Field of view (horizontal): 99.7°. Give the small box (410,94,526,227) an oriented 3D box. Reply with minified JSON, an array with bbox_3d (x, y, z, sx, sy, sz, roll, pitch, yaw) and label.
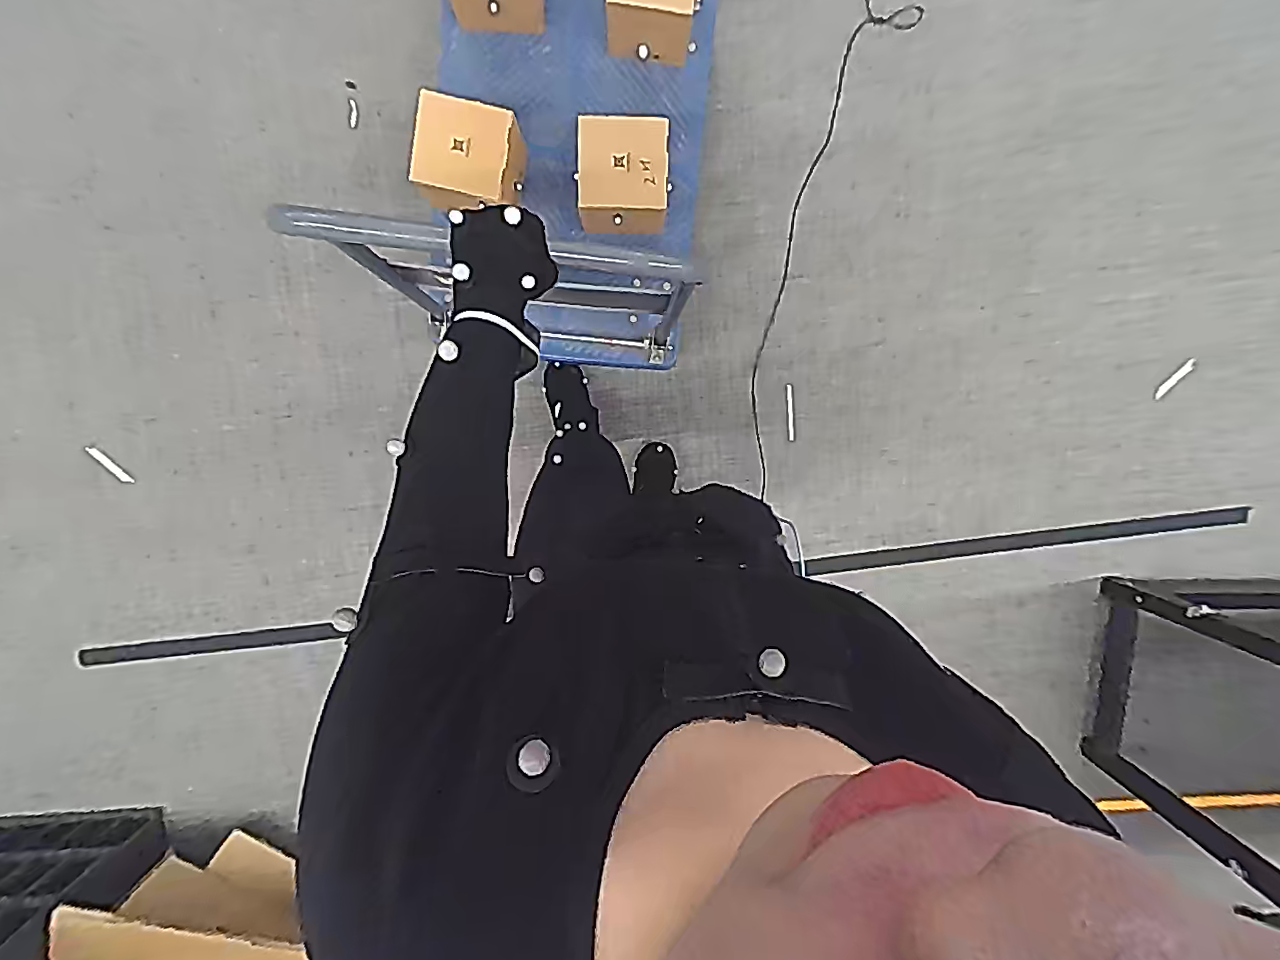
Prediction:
[{"bbox_3d":[-0.342,-0.638,1.102,0.179,0.176,0.168,10,98,-5],"label":"small box"}]

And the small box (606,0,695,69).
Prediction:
[{"bbox_3d":[0.023,-0.966,1.066,0.168,0.176,0.179,6,99,-3],"label":"small box"}]

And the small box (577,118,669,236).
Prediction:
[{"bbox_3d":[-0.035,-0.616,1.116,0.179,0.176,0.168,0,99,-2],"label":"small box"}]
